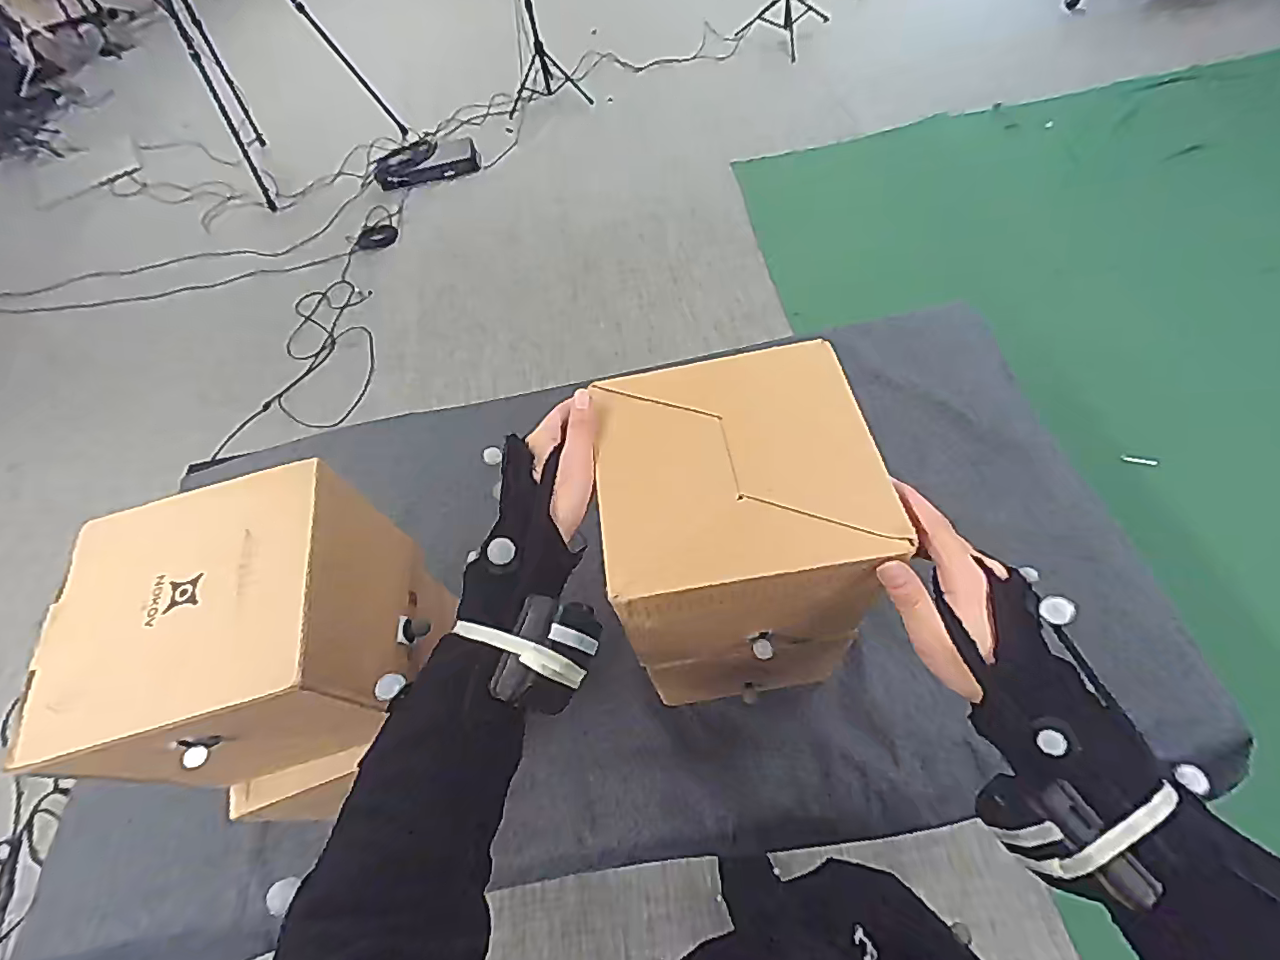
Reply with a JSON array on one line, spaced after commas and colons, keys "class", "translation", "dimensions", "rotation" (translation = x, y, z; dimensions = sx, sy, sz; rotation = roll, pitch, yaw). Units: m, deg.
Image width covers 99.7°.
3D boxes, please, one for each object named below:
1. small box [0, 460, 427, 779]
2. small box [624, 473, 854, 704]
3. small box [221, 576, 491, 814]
[{"class": "small box", "translation": [-0.284, 0.114, 0.410], "dimensions": [0.179, 0.176, 0.168], "rotation": [-15, 58, -3]}, {"class": "small box", "translation": [0.087, 0.116, 0.545], "dimensions": [0.179, 0.176, 0.168], "rotation": [-10, 57, 2]}, {"class": "small box", "translation": [-0.264, 0.211, 0.538], "dimensions": [0.168, 0.176, 0.179], "rotation": [-19, 58, -4]}]
